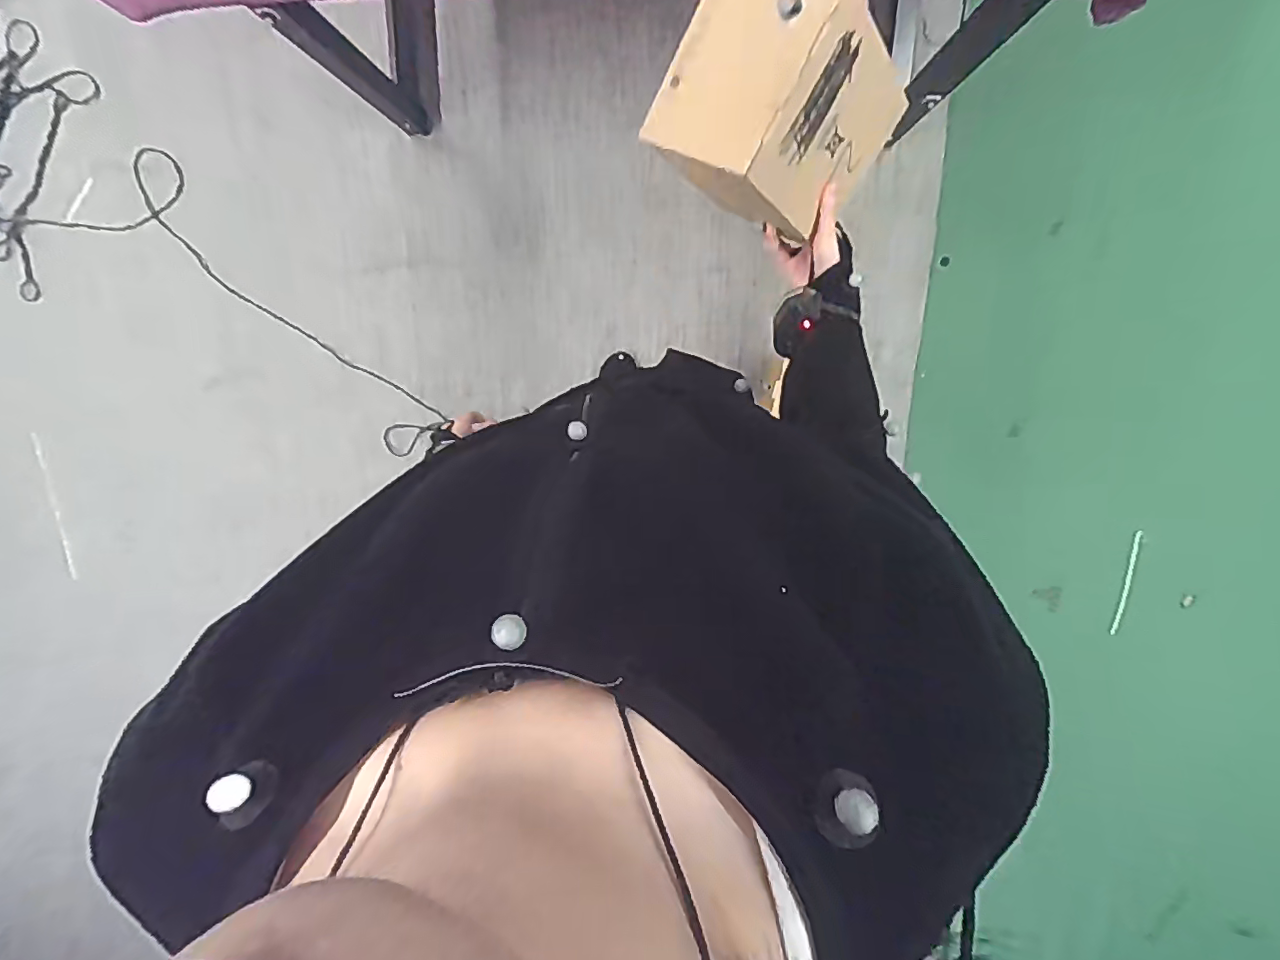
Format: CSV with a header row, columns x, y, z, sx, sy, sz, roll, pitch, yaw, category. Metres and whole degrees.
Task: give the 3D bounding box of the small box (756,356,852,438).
x,y,z,sx,sy,sz,roll,pitch,yaw,category
0.405,-0.214,1.370,0.179,0.176,0.168,12,104,0,small box
